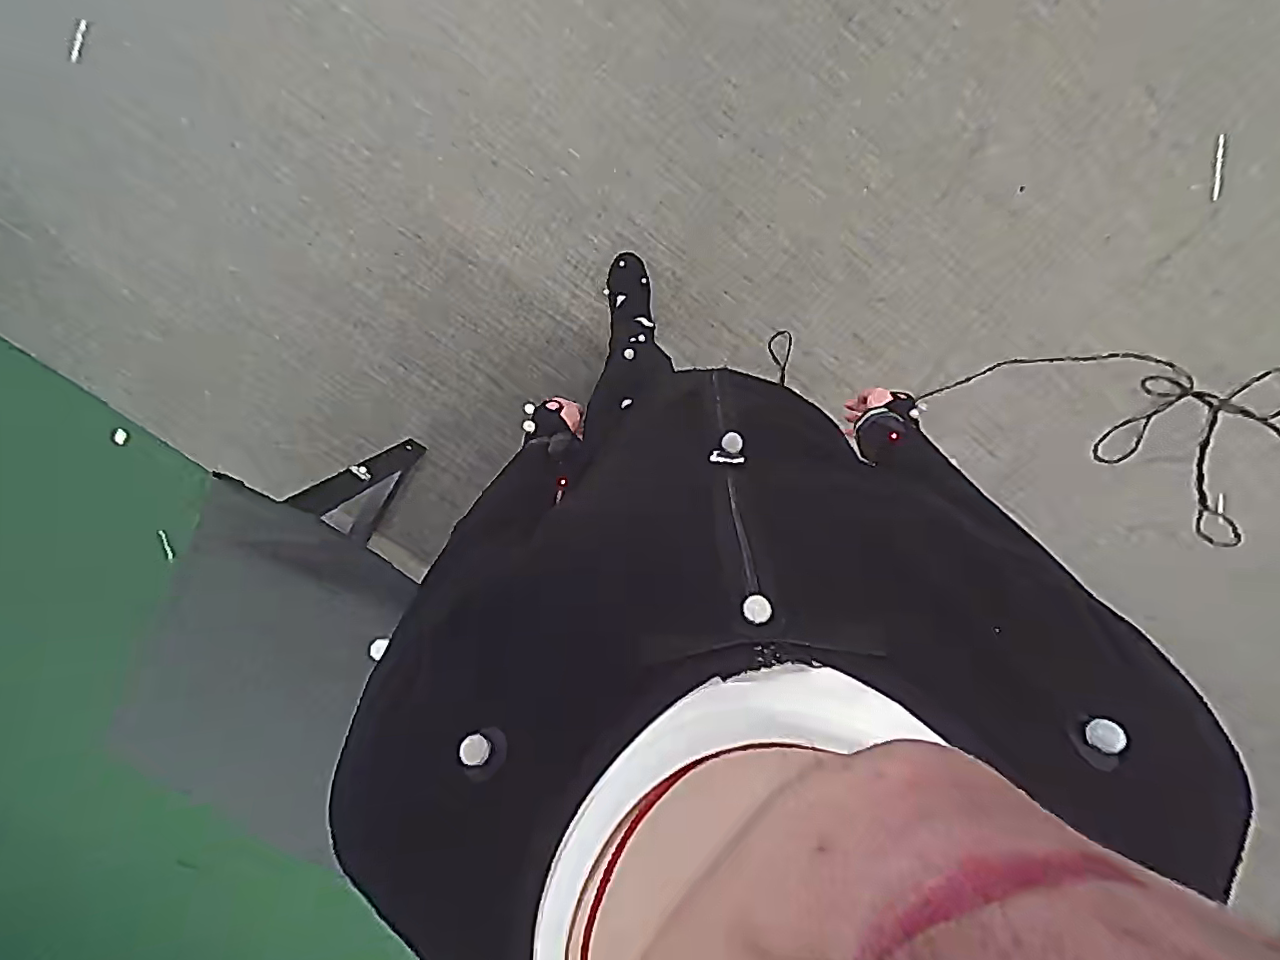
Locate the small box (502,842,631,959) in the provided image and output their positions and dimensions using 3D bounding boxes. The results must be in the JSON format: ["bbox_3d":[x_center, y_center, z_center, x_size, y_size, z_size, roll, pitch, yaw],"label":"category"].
[{"bbox_3d":[-0.130,0.820,0.993,0.168,0.176,0.179,38,106,-6],"label":"small box"}]
